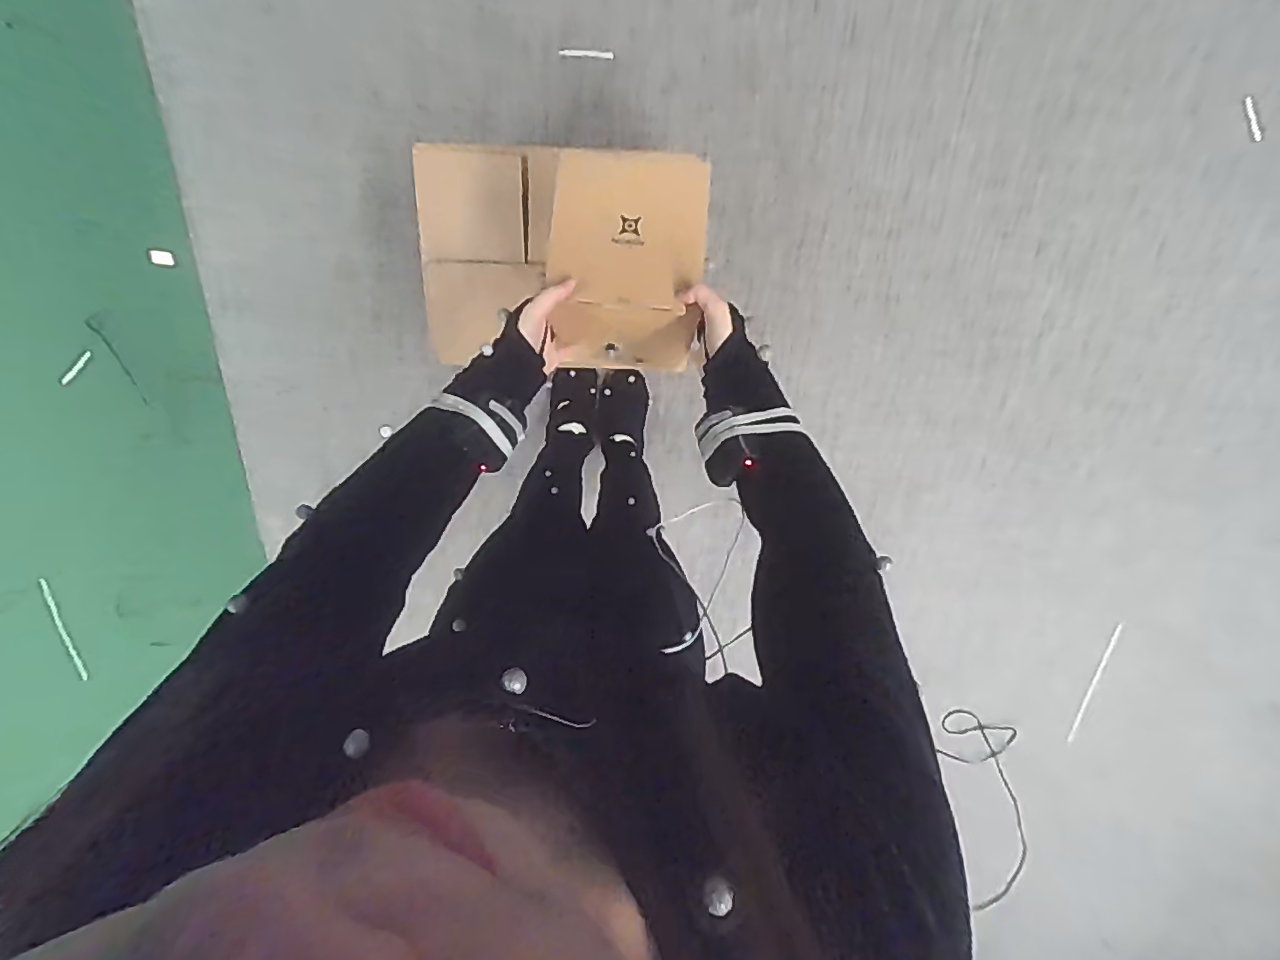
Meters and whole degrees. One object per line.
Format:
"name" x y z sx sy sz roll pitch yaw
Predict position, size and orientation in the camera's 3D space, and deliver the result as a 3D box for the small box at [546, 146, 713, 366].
"small box" -0.015 -0.256 0.654 0.168 0.176 0.179 6 82 -3
